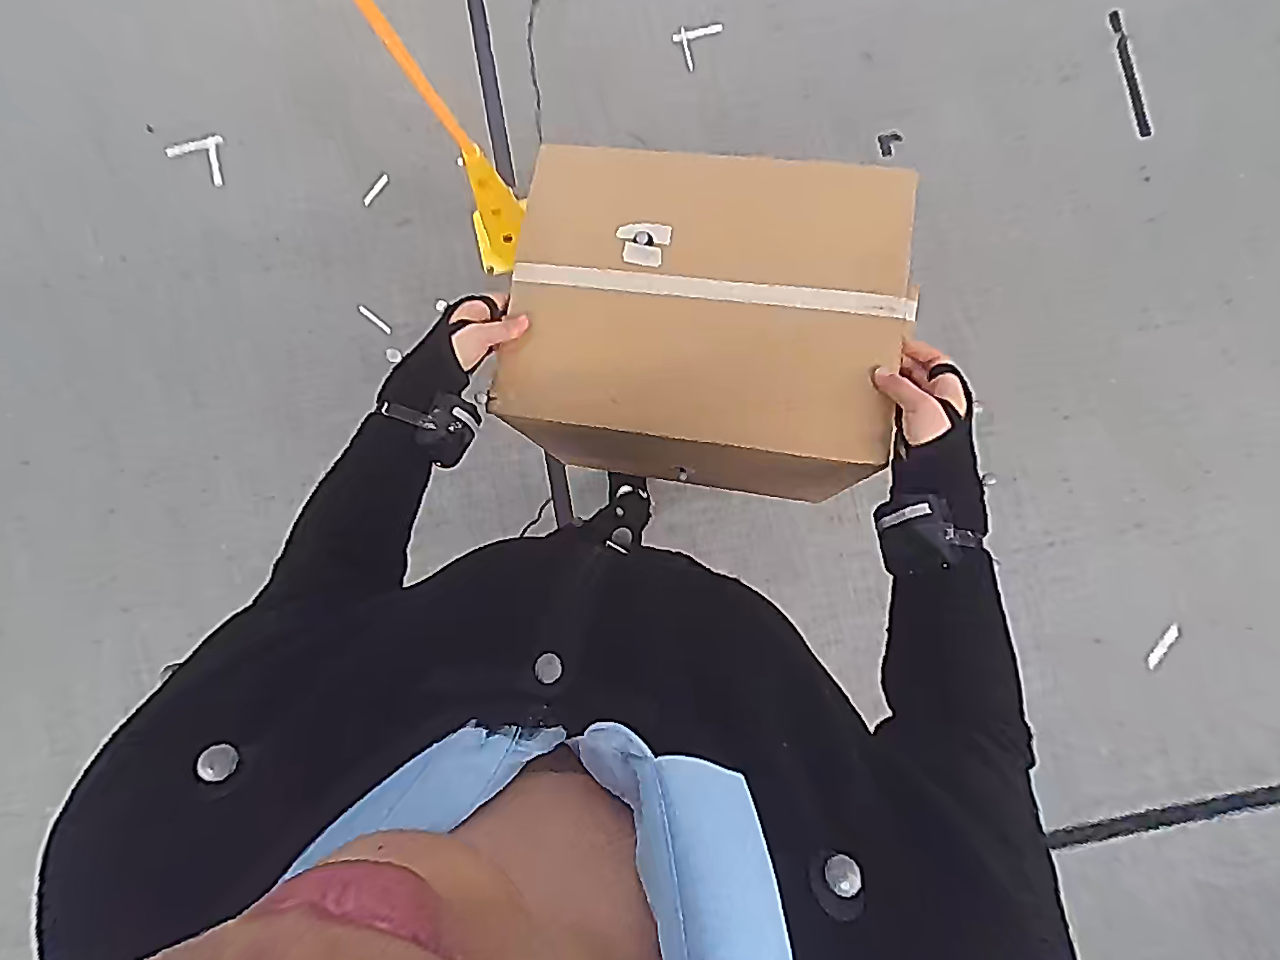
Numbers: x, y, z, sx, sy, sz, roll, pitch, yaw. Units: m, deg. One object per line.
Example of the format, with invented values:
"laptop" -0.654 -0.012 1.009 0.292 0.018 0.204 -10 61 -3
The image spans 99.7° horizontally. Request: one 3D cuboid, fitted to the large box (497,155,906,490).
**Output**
"large box" 0.084 -0.177 0.713 0.408 0.320 0.320 8 81 9
